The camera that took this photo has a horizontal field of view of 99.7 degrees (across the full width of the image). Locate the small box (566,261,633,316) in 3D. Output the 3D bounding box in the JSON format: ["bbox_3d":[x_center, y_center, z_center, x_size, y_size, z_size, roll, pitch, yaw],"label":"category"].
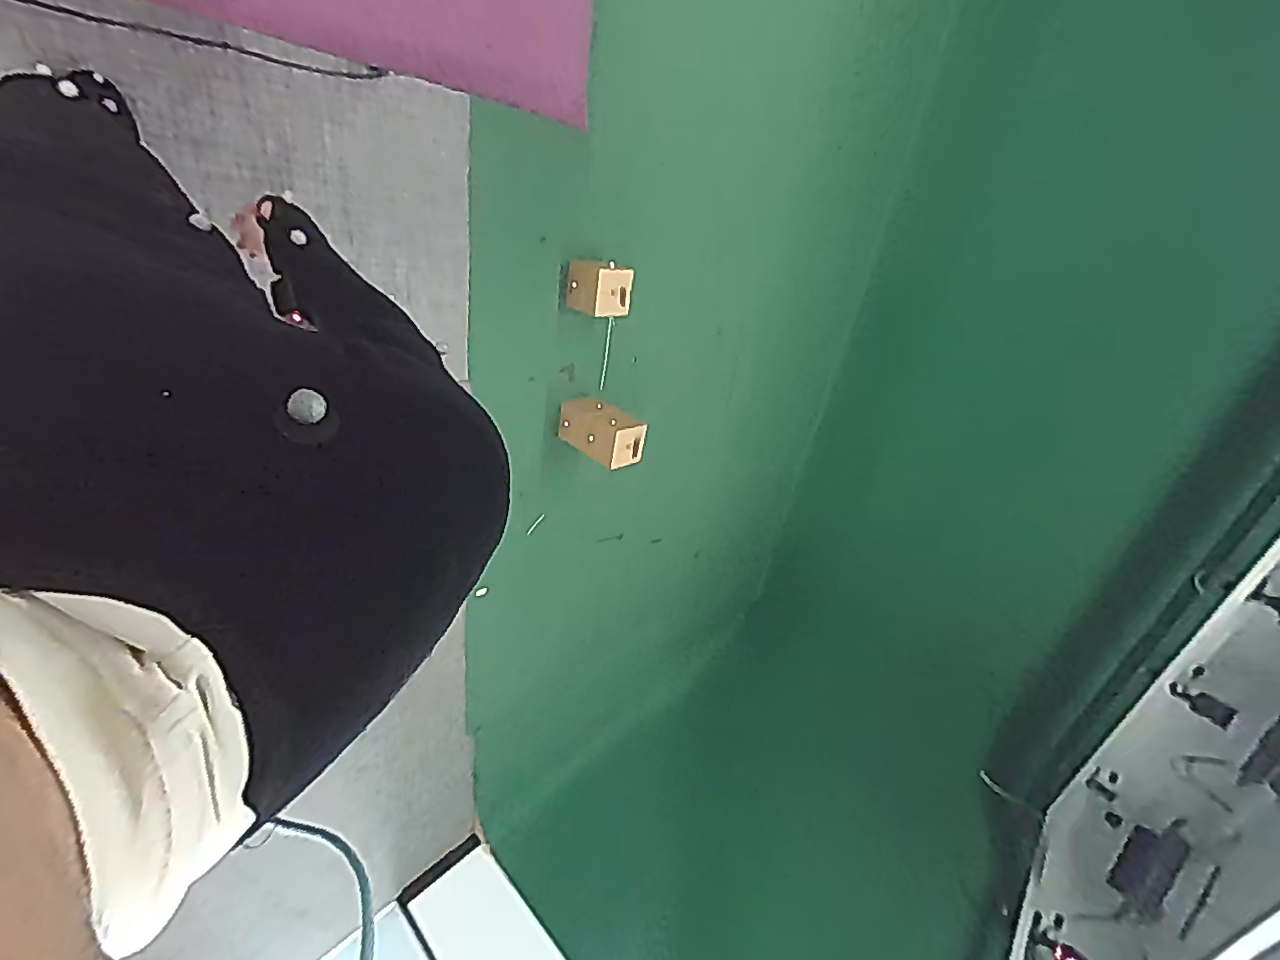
[{"bbox_3d":[-0.152,-0.716,2.013,0.179,0.176,0.168,-20,129,-42],"label":"small box"}]

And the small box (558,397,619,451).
[{"bbox_3d":[-0.218,-0.243,2.284,0.179,0.176,0.168,-18,128,-44],"label":"small box"}]
